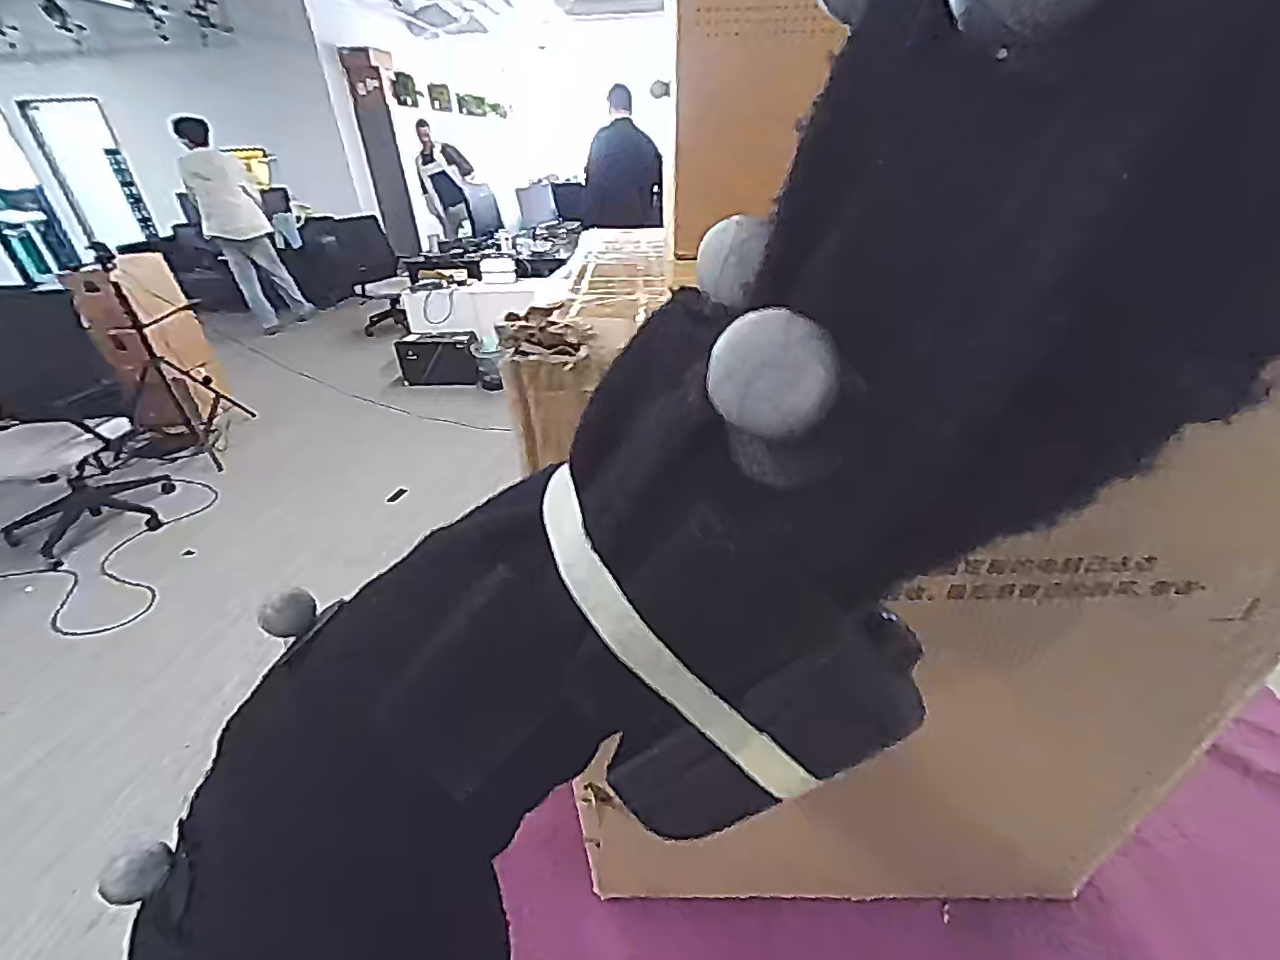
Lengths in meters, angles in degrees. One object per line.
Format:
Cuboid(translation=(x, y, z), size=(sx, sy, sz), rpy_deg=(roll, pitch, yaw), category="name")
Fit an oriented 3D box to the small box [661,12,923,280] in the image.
Cuboid(translation=(0.110, -0.281, 0.466), size=(0.179, 0.176, 0.168), rpy_deg=(-1, 32, 0), category="small box")
